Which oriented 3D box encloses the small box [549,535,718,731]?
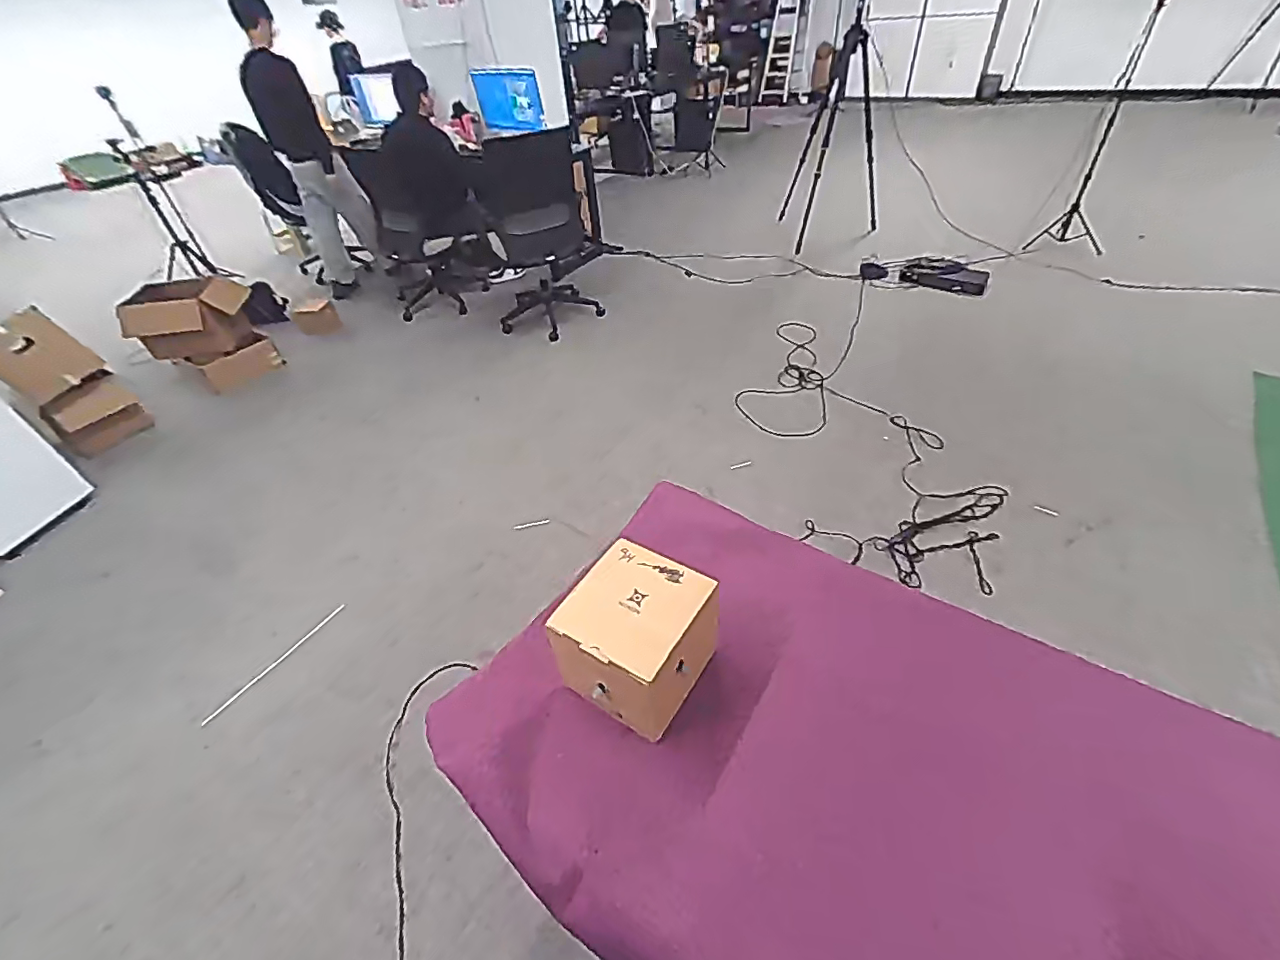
[{"bbox_3d":[0.001,0.218,0.769,0.168,0.176,0.179,22,49,27],"label":"small box"}]
